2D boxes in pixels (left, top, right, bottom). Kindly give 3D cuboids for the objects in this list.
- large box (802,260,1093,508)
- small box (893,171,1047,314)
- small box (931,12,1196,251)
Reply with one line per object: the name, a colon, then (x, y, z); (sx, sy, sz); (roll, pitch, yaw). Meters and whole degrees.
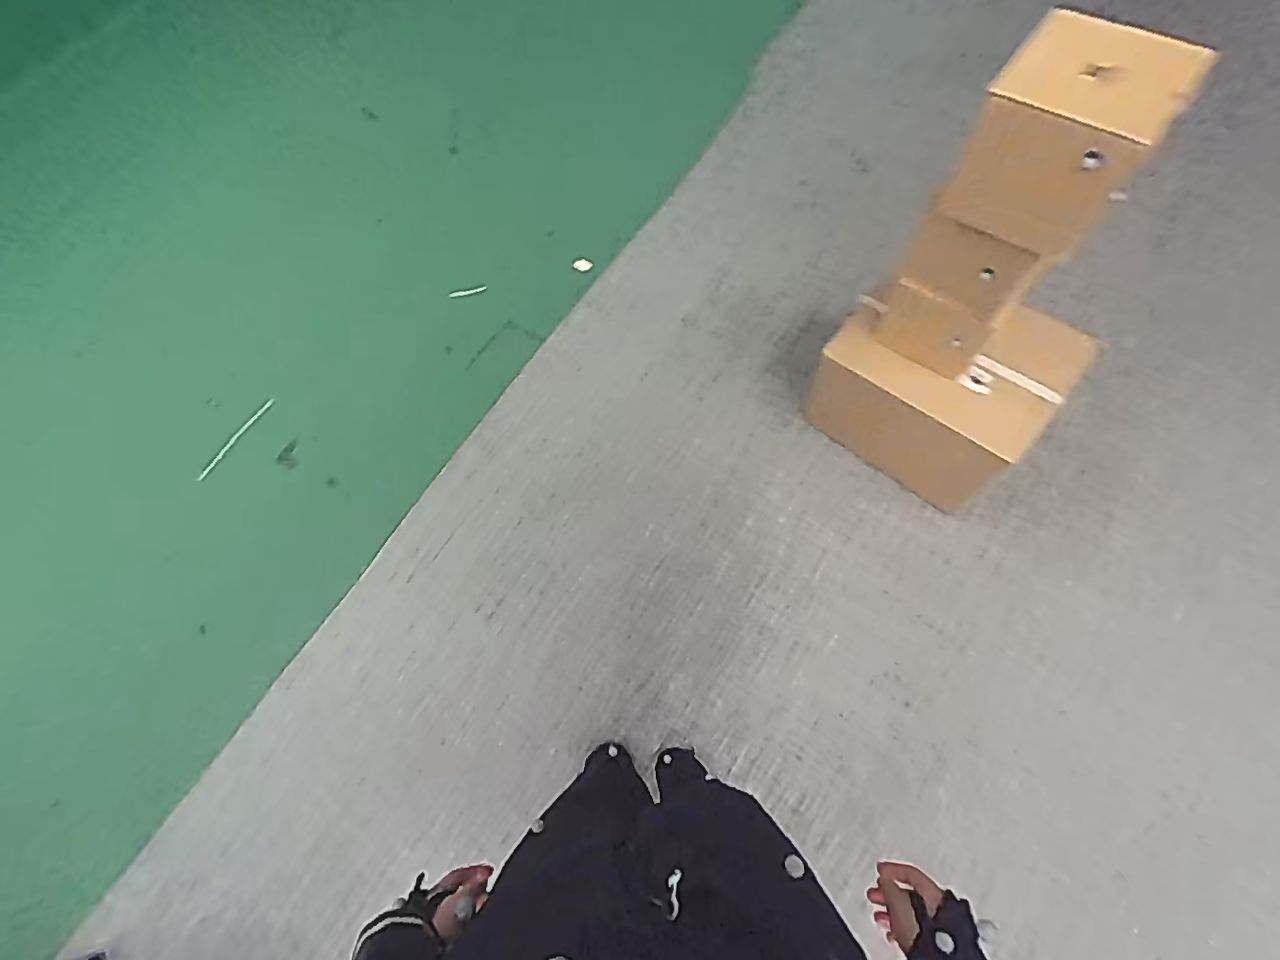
large box: (0.627, -0.204, 1.189); (0.408, 0.320, 0.320); (37, 80, 19)
small box: (0.532, -0.388, 0.836); (0.168, 0.176, 0.179); (-45, 68, -9)
small box: (0.506, -0.425, 0.678); (0.179, 0.176, 0.168); (35, 77, 19)
